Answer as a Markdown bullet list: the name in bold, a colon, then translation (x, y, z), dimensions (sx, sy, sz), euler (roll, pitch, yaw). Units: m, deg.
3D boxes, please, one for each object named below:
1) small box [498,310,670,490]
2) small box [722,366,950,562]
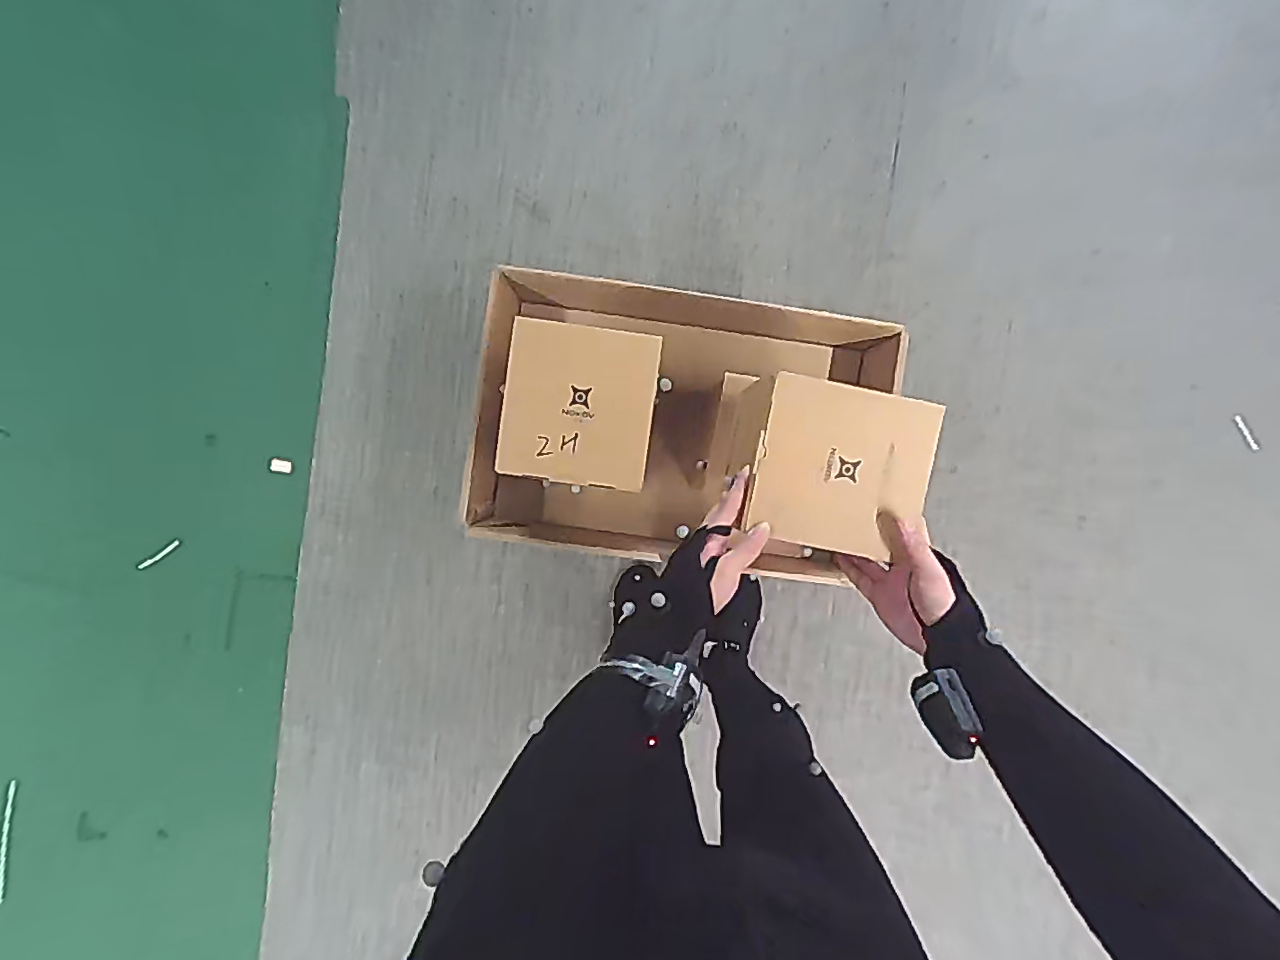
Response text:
- **small box**: translation (-0.063, -0.087, 0.665), dimensions (0.168, 0.176, 0.179), euler (9, 91, -1)
- **small box**: translation (0.202, -0.017, 0.610), dimensions (0.179, 0.176, 0.168), euler (12, 92, -3)
